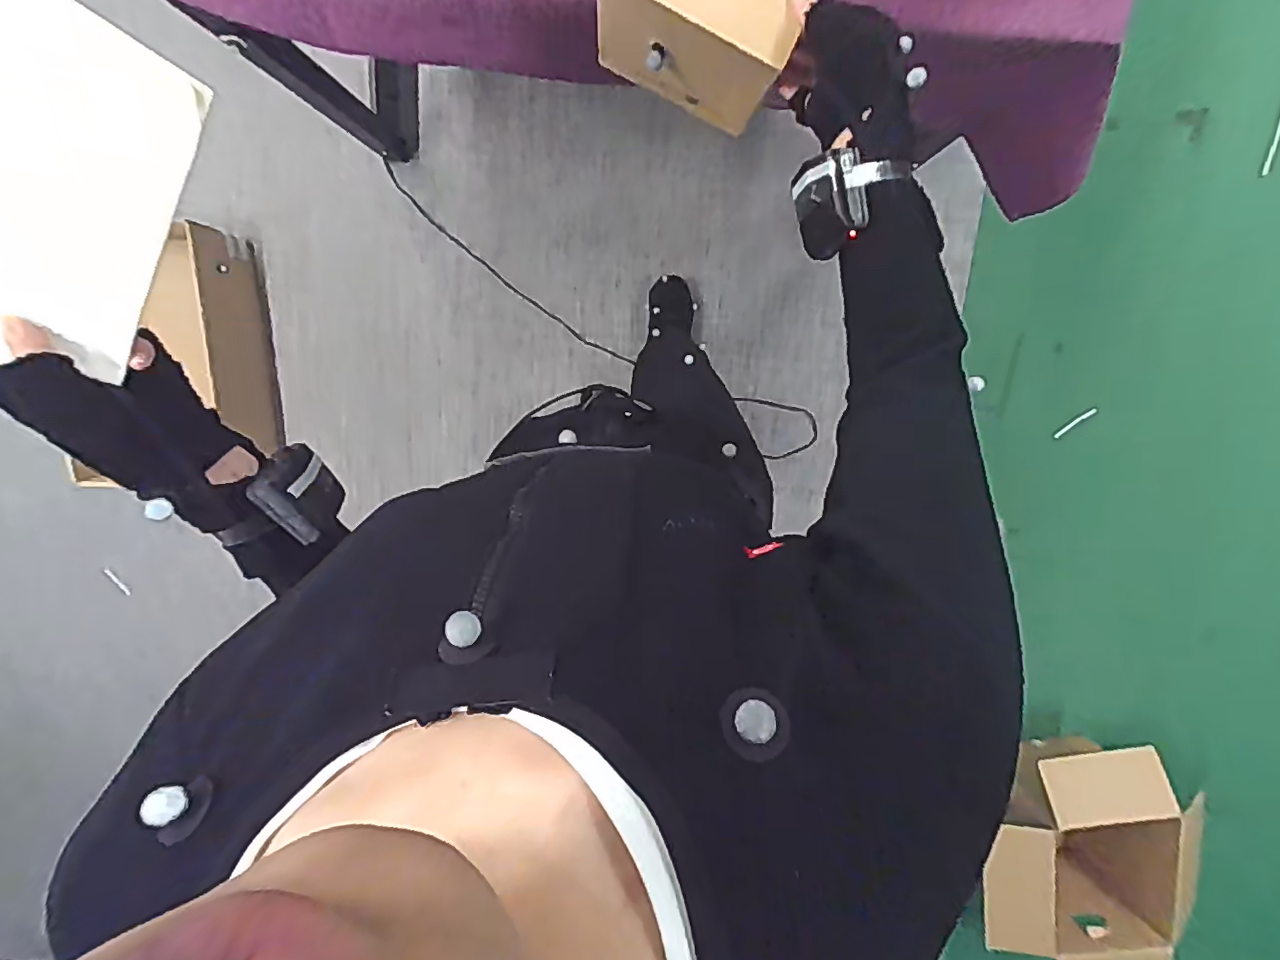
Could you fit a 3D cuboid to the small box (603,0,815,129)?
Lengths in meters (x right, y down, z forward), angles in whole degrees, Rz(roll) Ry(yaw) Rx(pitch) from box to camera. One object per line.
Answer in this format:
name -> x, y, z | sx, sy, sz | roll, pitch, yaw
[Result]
small box -> 0.072, -0.457, 0.481 | 0.168, 0.176, 0.179 | 22, 103, -10
